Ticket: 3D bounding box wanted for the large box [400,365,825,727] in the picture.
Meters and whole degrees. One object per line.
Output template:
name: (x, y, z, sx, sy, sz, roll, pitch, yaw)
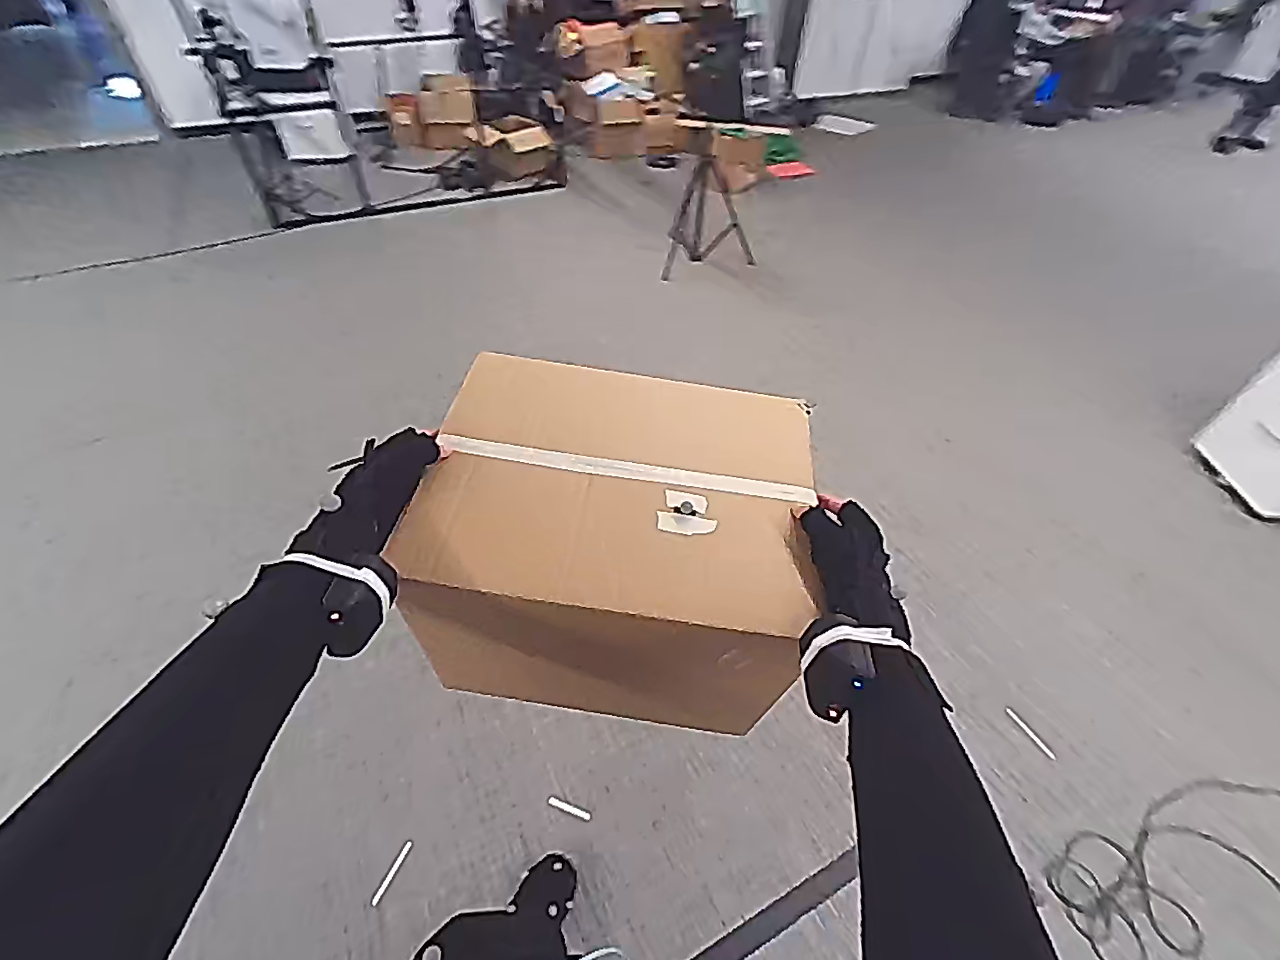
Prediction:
large box: (-0.024, 0.092, 0.700, 0.408, 0.320, 0.320, 10, 51, 0)
